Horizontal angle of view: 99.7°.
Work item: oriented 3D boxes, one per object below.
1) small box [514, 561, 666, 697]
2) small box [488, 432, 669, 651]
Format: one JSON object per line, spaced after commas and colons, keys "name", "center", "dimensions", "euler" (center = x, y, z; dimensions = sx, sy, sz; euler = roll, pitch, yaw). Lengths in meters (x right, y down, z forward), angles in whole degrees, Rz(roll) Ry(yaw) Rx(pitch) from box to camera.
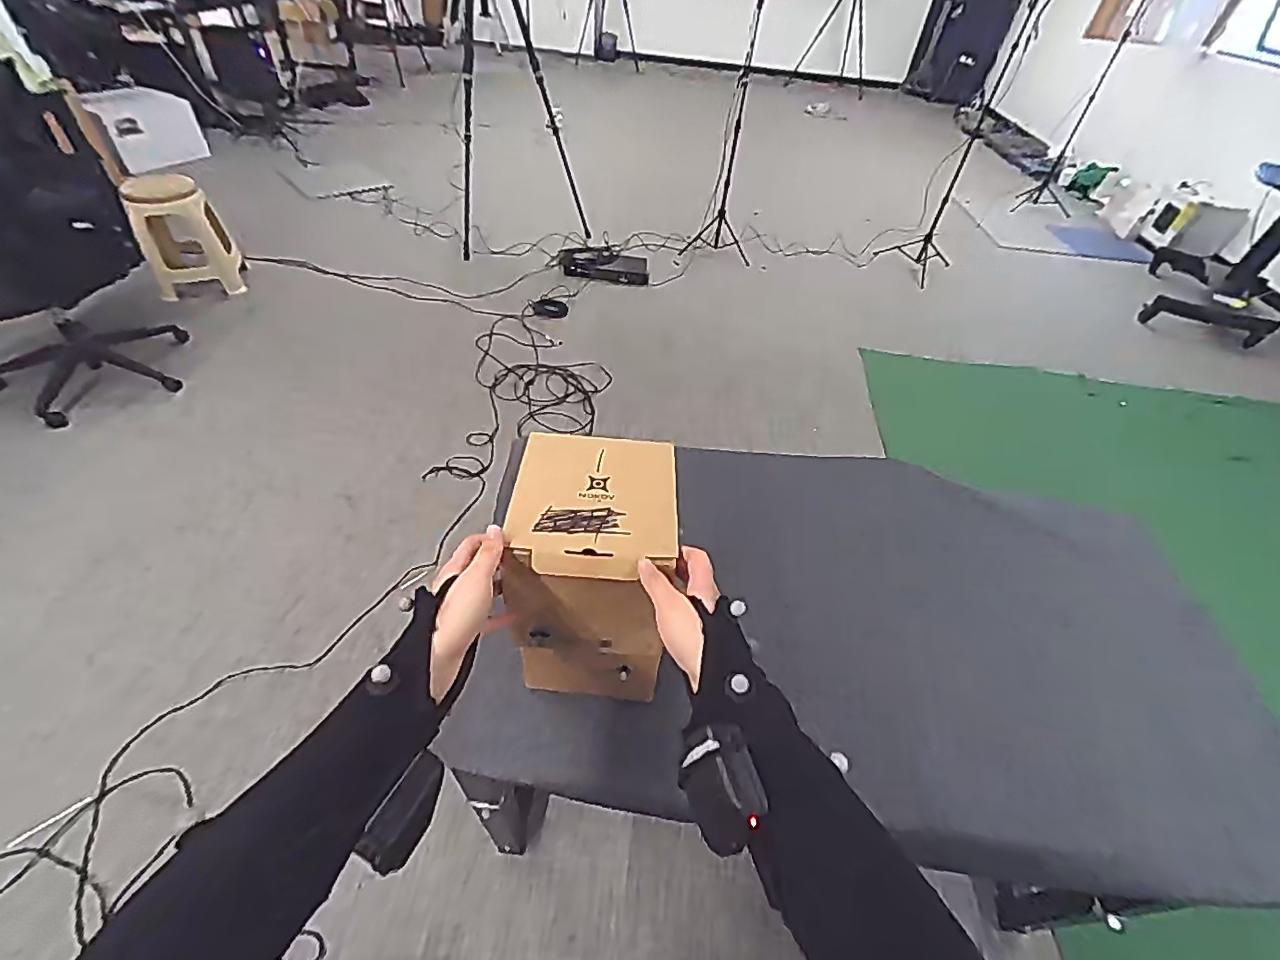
{"name": "small box", "center": [-0.062, 0.180, 0.740], "dimensions": [0.179, 0.176, 0.168], "euler": [6, 44, 0]}
{"name": "small box", "center": [-0.057, 0.069, 0.598], "dimensions": [0.168, 0.176, 0.179], "euler": [4, 42, -2]}
